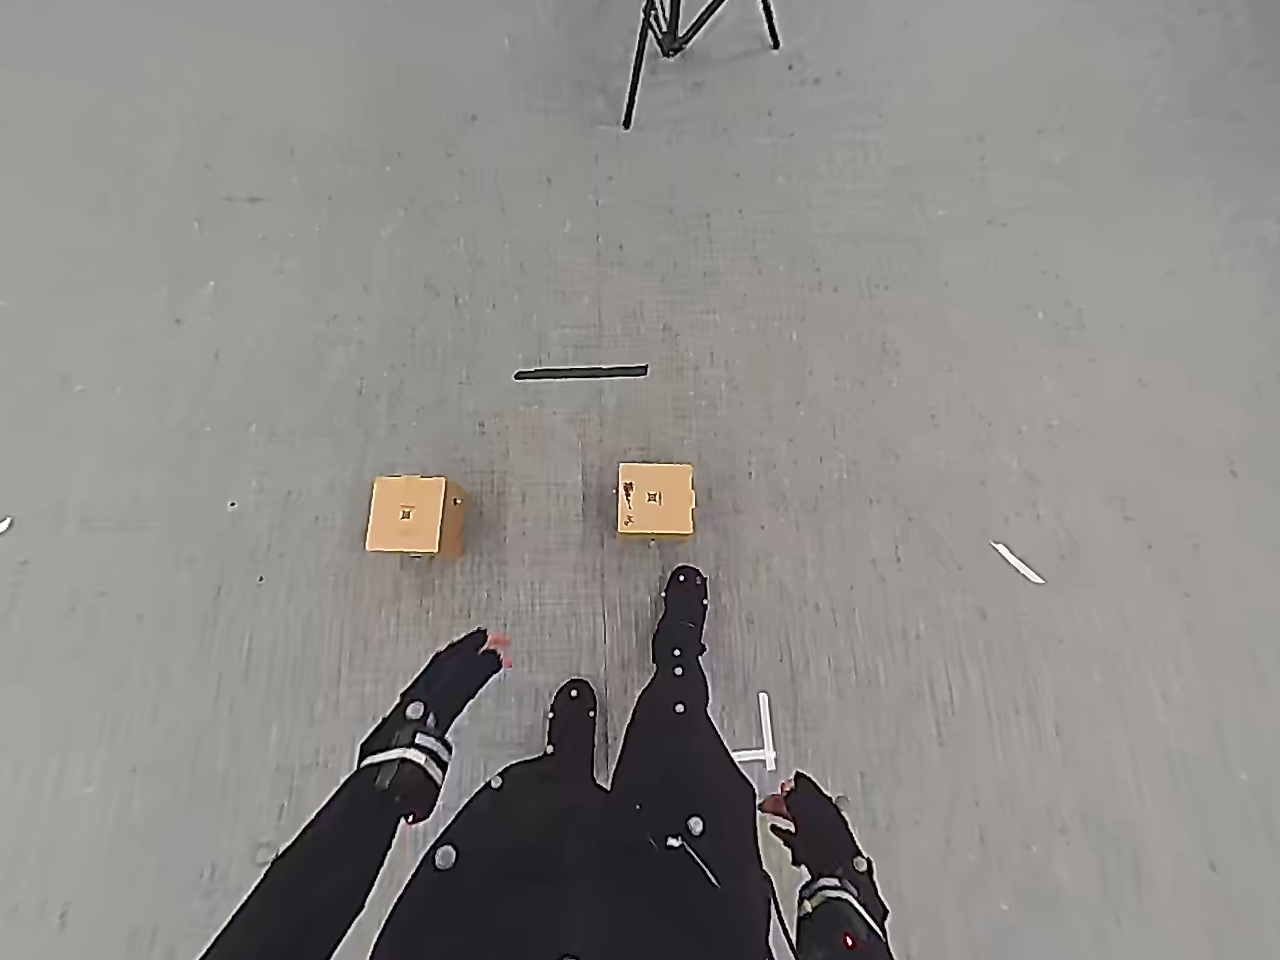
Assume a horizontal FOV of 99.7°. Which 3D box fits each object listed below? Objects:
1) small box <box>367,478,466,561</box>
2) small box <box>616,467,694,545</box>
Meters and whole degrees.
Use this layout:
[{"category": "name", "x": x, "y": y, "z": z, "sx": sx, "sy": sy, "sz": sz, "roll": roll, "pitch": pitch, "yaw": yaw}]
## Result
[{"category": "small box", "x": -0.529, "y": 0.099, "z": 1.305, "sx": 0.168, "sy": 0.176, "sz": 0.179, "roll": 1, "pitch": 78, "yaw": 0}, {"category": "small box", "x": 0.033, "y": 0.068, "z": 1.329, "sx": 0.179, "sy": 0.176, "sz": 0.168, "roll": 2, "pitch": 77, "yaw": -3}]
